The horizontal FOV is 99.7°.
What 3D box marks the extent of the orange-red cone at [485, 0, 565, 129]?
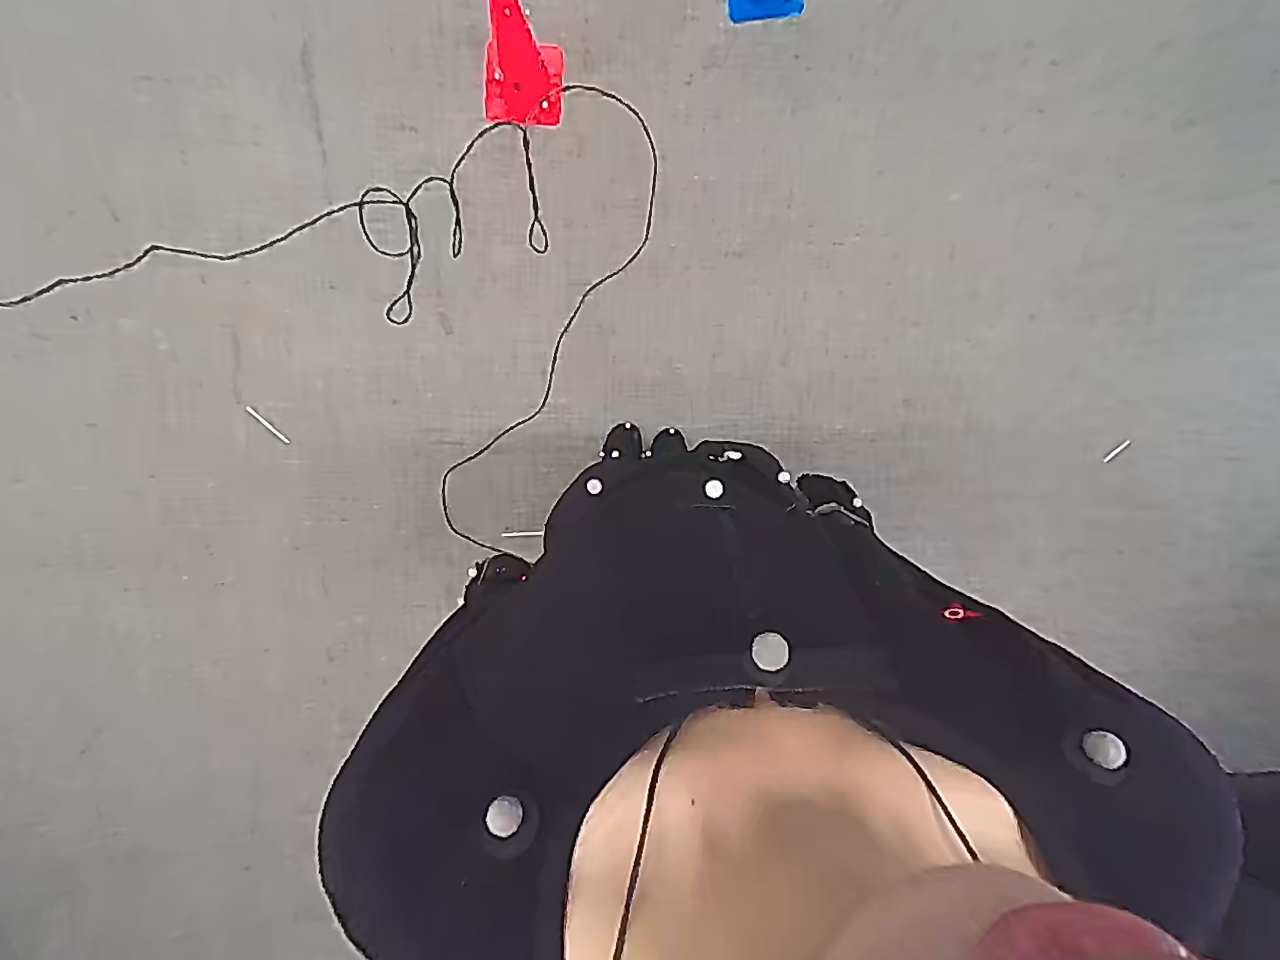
[{"bbox_3d":[-0.288,-1.010,1.228,0.198,0.360,0.199,4,93,-3],"label":"orange-red cone"}]
